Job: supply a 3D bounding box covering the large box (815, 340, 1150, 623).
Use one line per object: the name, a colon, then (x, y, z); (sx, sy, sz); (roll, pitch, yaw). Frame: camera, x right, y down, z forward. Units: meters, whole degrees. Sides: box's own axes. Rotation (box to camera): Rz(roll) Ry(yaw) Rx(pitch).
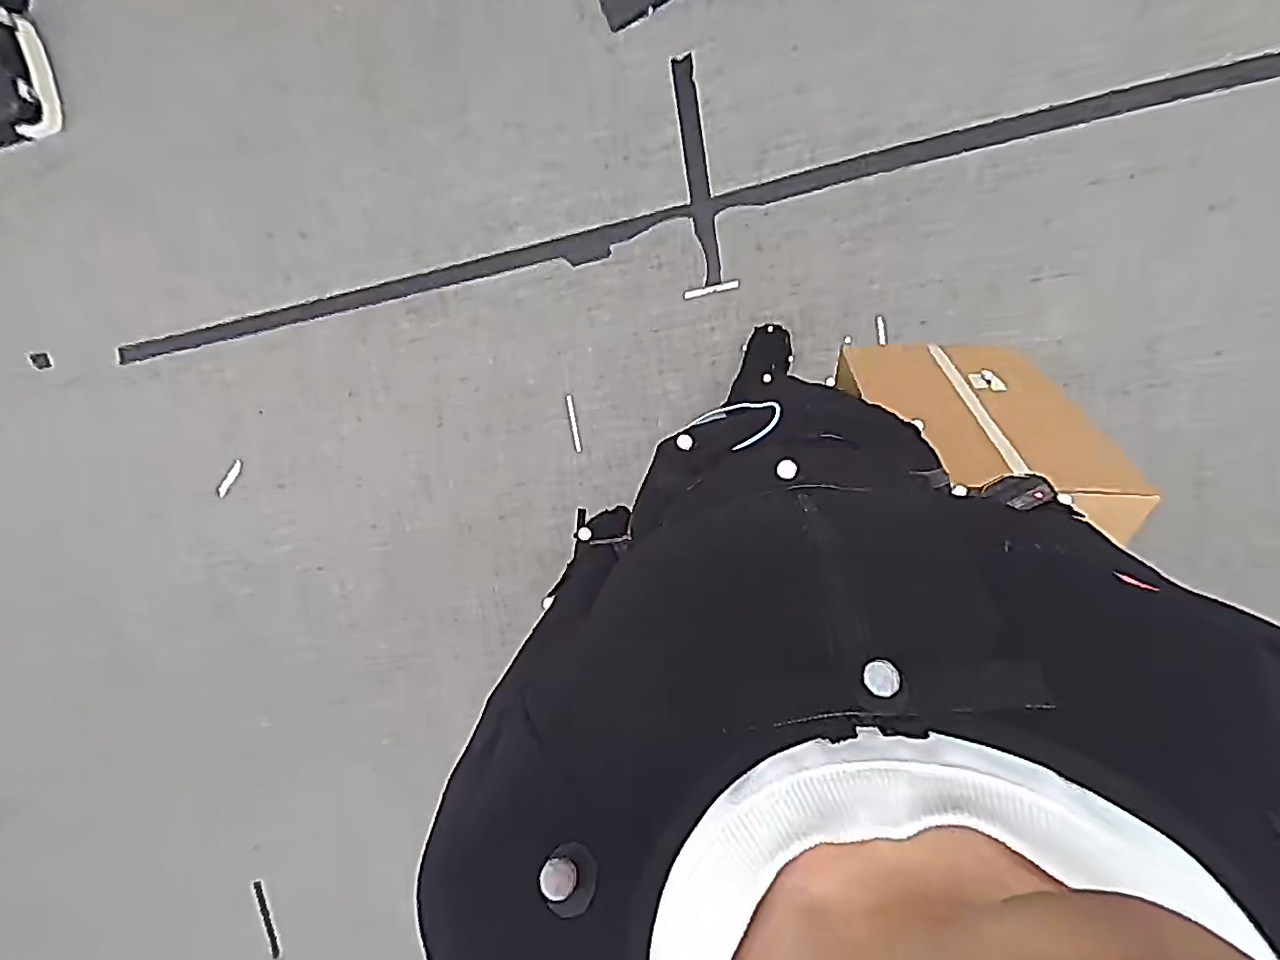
large box: (0.513, -0.008, 0.936); (0.320, 0.408, 0.320); (2, 130, 4)
